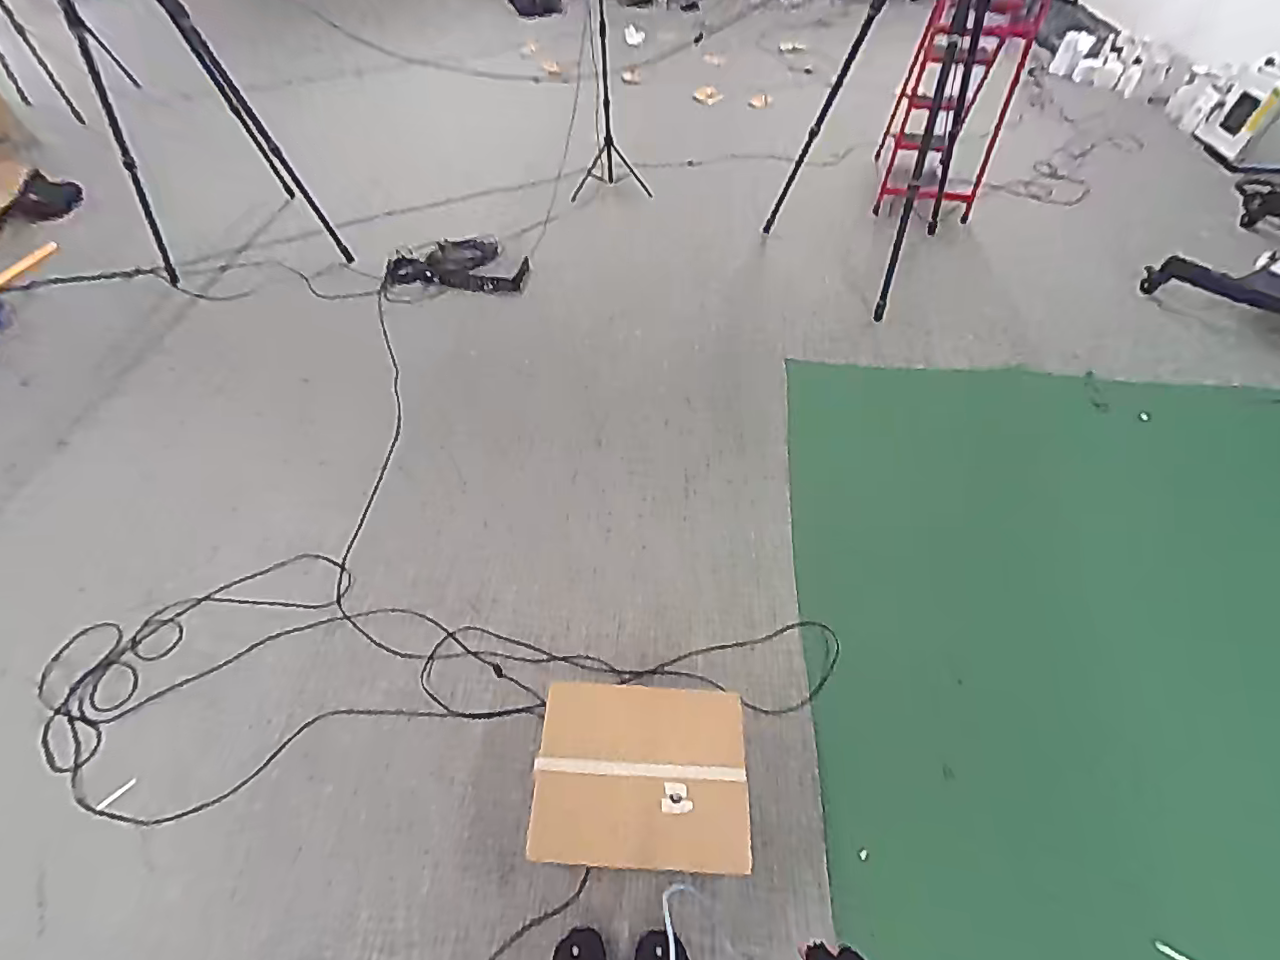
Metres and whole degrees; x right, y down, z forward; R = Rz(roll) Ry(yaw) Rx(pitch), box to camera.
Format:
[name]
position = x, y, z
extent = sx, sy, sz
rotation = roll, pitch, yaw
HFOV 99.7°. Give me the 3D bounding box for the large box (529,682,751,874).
[large box]
position = -0.001, 0.646, 1.162
extent = 0.408, 0.320, 0.320
rotation = 3, 54, 0
